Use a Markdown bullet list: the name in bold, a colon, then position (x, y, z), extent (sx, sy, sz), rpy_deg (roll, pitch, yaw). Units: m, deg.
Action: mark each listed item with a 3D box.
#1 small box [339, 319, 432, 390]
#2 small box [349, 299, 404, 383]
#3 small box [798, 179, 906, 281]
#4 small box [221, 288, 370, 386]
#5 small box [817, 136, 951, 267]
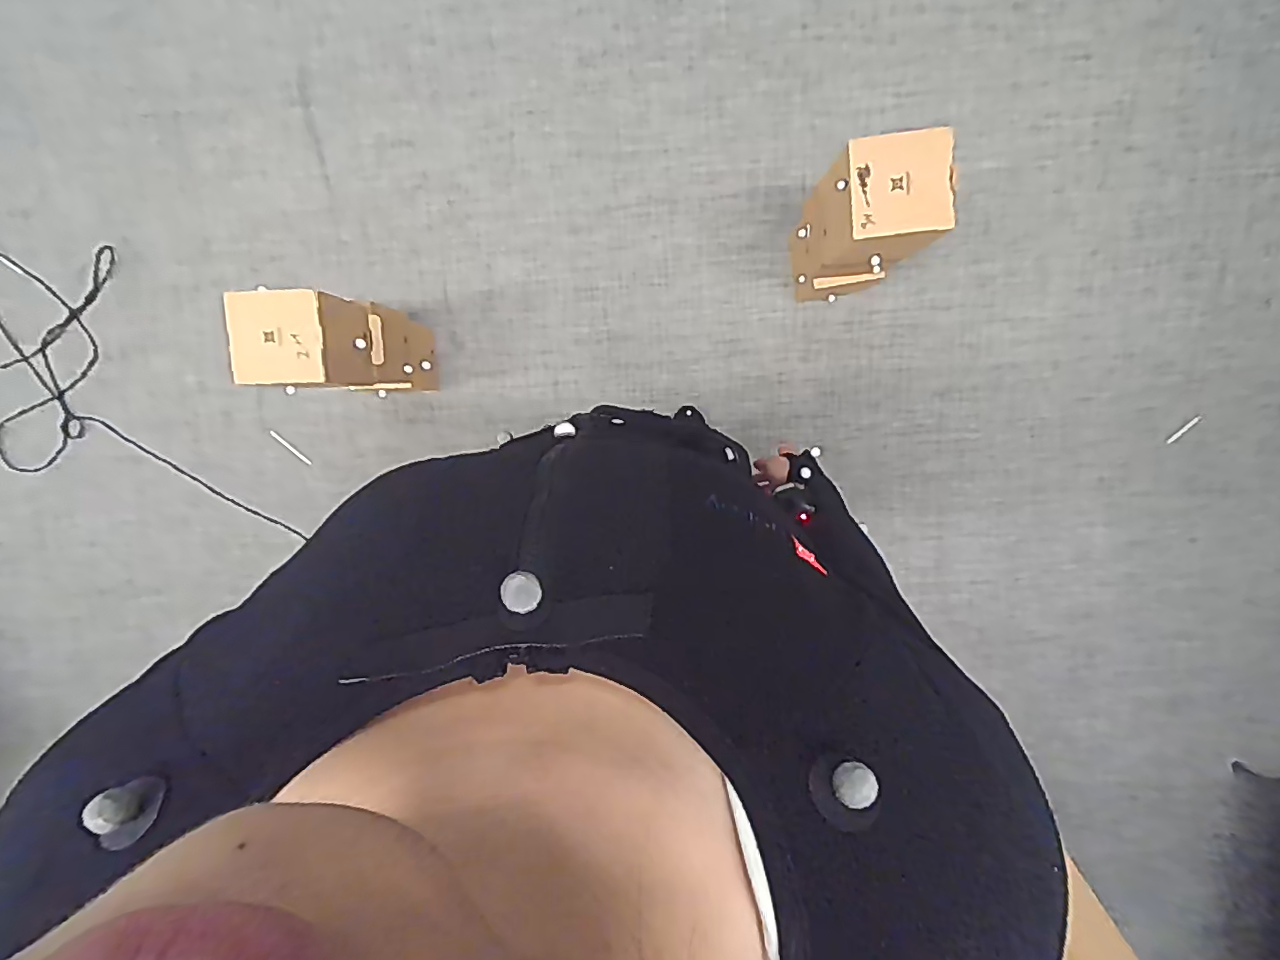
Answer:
- **small box**: position (-0.641, -0.315, 1.371), extent (0.179, 0.176, 0.168), rpy_deg (-1, 98, 2)
- **small box**: position (-0.646, -0.304, 1.207), extent (0.179, 0.176, 0.168), rpy_deg (0, 97, 3)
- **small box**: position (0.452, -0.536, 1.165), extent (0.179, 0.176, 0.168), rpy_deg (-5, 97, 3)
- **small box**: position (-0.655, -0.269, 1.046), extent (0.179, 0.176, 0.168), rpy_deg (-1, 98, 2)
- **small box**: position (0.444, -0.507, 1.004), extent (0.179, 0.176, 0.168), rpy_deg (-5, 97, 1)
